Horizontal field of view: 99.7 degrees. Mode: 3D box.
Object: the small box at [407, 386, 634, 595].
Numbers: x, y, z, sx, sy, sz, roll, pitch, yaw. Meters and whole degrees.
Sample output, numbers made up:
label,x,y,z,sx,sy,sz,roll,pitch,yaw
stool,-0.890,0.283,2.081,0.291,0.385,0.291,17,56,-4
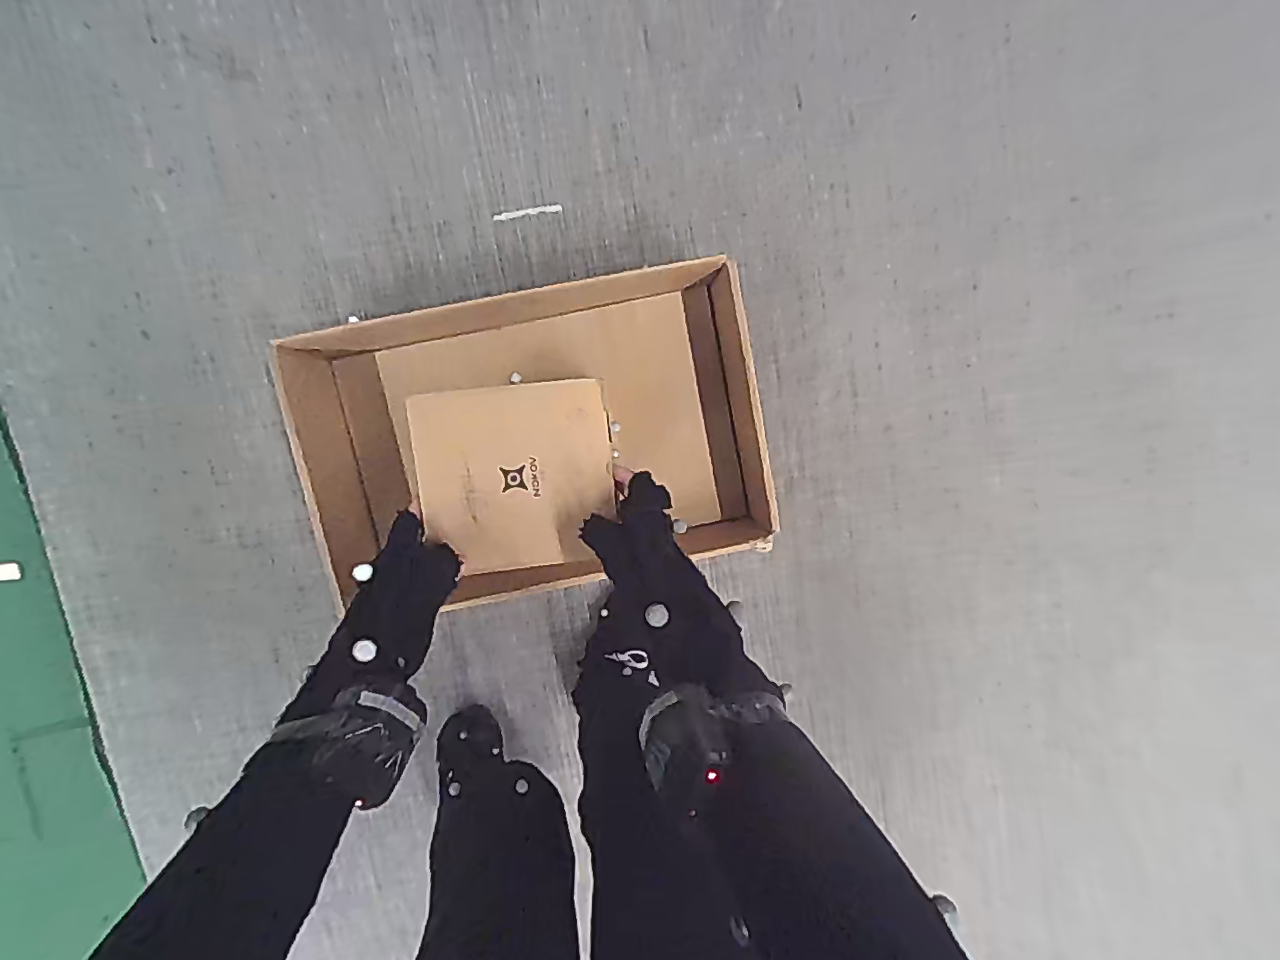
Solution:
label,x,y,z,sx,sy,sz,roll,pitch,yaw
small box,-0.113,0.000,0.557,0.179,0.176,0.168,-11,97,-6
